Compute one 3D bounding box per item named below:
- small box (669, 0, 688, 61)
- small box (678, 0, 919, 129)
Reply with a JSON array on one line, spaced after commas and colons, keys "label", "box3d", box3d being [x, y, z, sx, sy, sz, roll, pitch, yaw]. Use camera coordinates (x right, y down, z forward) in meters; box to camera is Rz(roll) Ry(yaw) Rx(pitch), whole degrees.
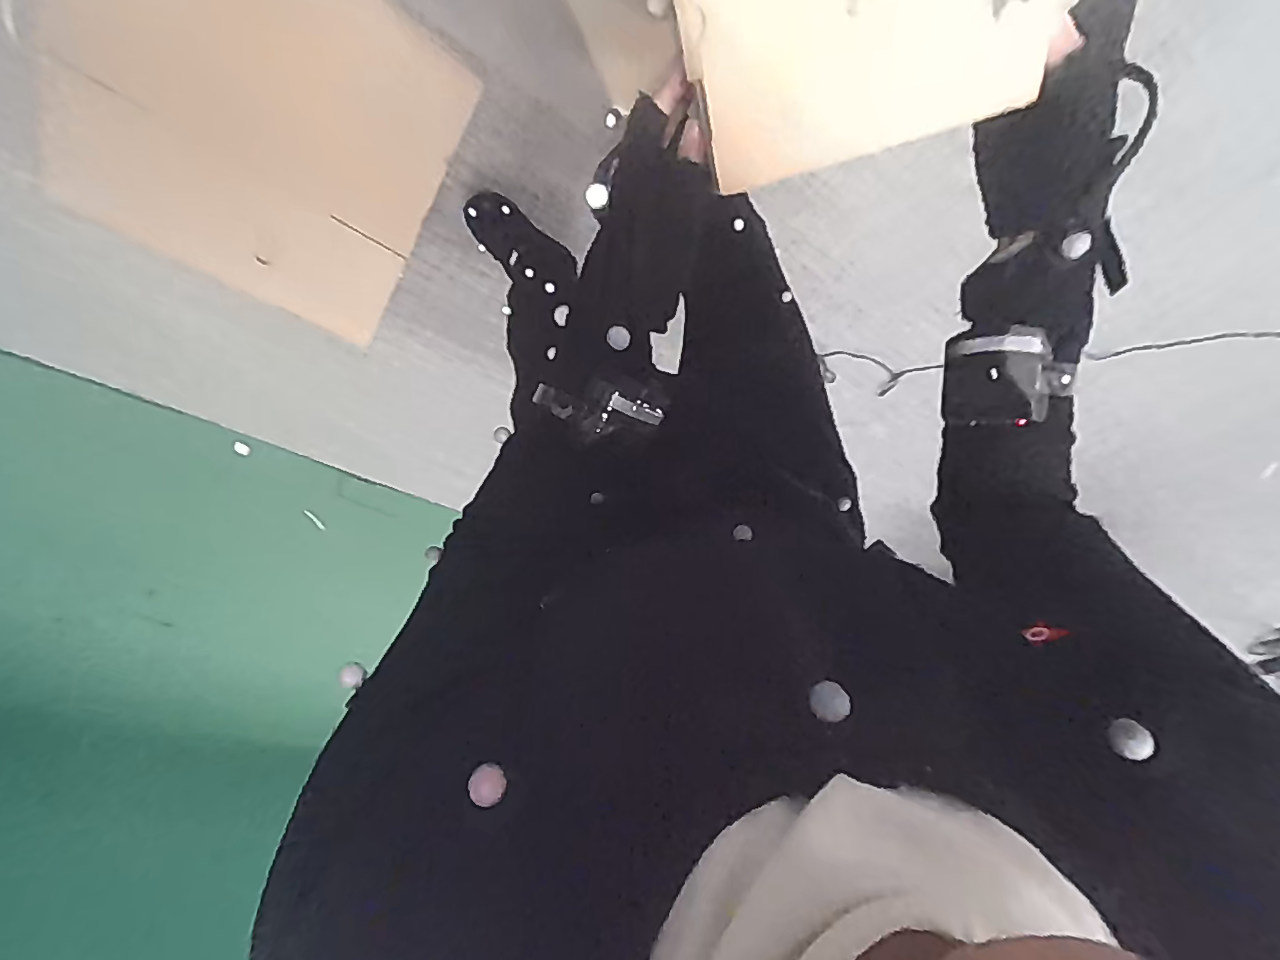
[{"label": "small box", "box3d": [0.111, -0.544, 0.527, 0.179, 0.176, 0.168, -6, 138, 8]}, {"label": "small box", "box3d": [0.112, -0.417, 0.422, 0.168, 0.176, 0.179, -9, 139, 9]}]
